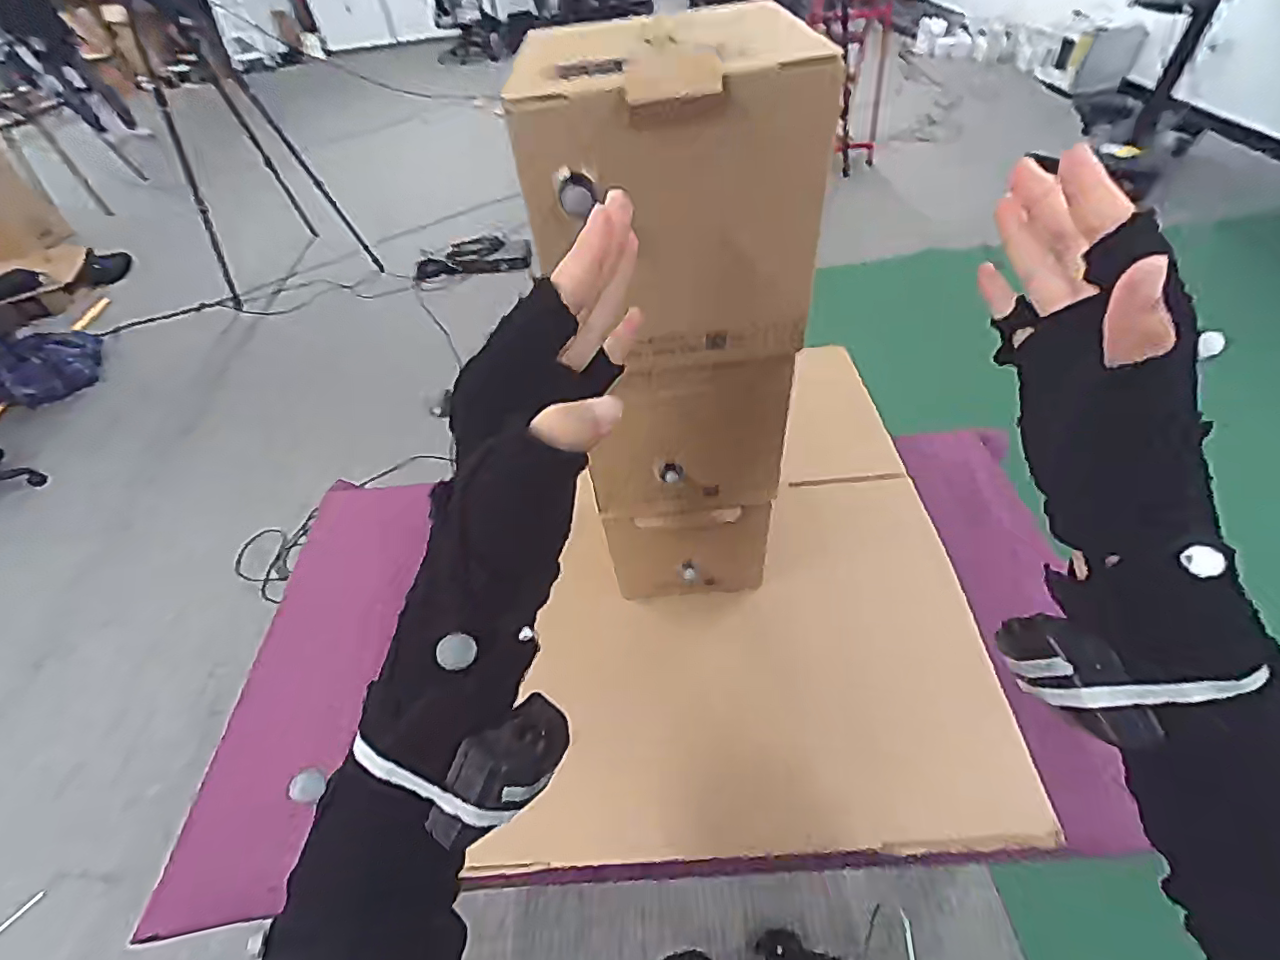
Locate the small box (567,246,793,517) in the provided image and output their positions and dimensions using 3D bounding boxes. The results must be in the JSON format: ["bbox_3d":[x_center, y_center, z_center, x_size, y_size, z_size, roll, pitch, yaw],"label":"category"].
[{"bbox_3d":[0.030,-0.089,0.500,0.168,0.176,0.179,-7,49,2],"label":"small box"}]

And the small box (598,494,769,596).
[{"bbox_3d":[0.047,0.013,0.627,0.168,0.176,0.179,-5,49,4],"label":"small box"}]
